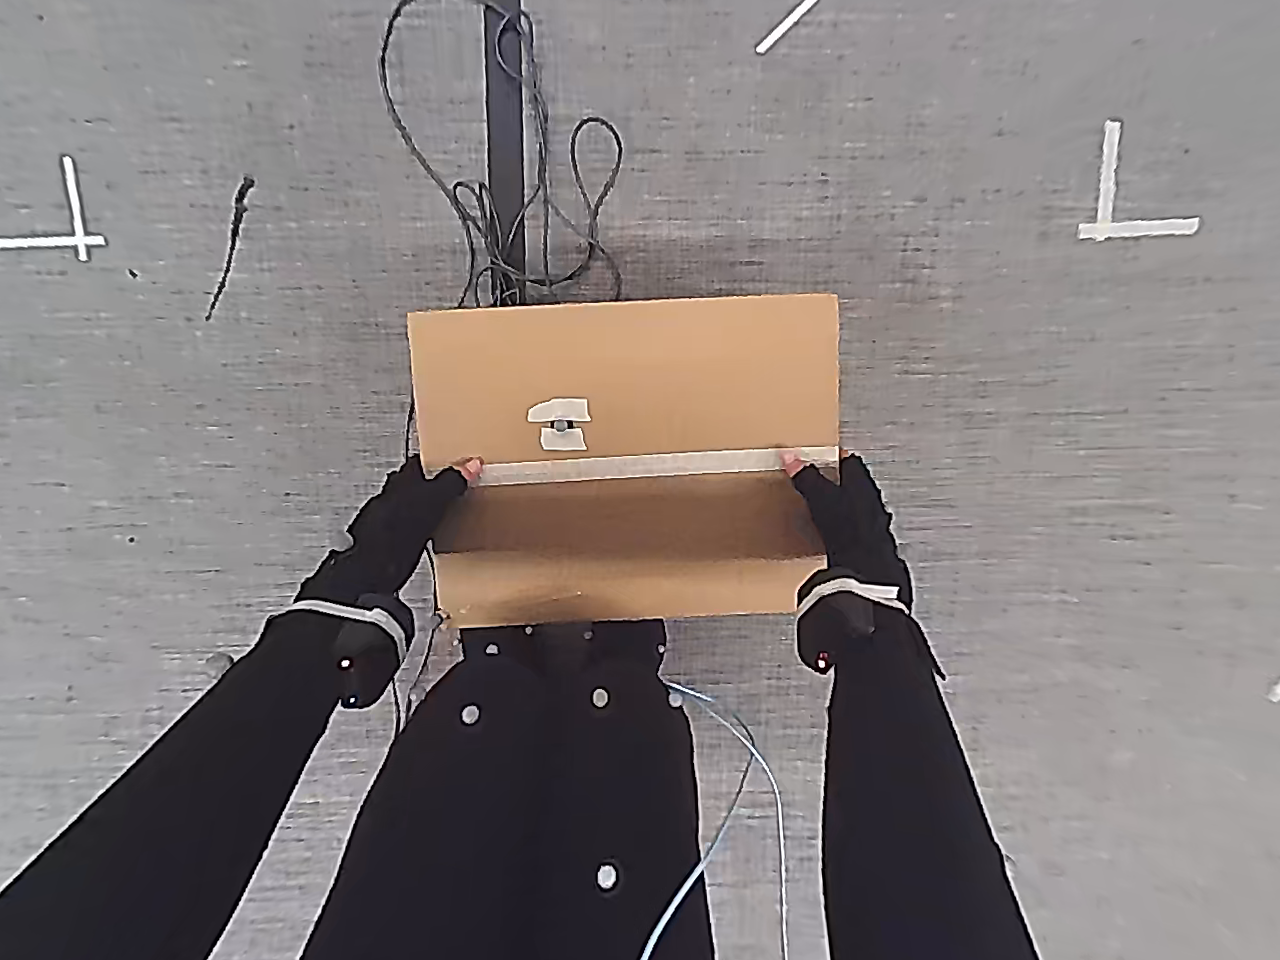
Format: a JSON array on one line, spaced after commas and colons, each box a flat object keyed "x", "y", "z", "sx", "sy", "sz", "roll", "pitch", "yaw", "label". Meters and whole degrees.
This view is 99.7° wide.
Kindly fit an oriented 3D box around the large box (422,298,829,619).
[{"x": -0.006, "y": -0.035, "z": 0.691, "sx": 0.408, "sy": 0.320, "sz": 0.320, "roll": -2, "pitch": 97, "yaw": 1, "label": "large box"}]
